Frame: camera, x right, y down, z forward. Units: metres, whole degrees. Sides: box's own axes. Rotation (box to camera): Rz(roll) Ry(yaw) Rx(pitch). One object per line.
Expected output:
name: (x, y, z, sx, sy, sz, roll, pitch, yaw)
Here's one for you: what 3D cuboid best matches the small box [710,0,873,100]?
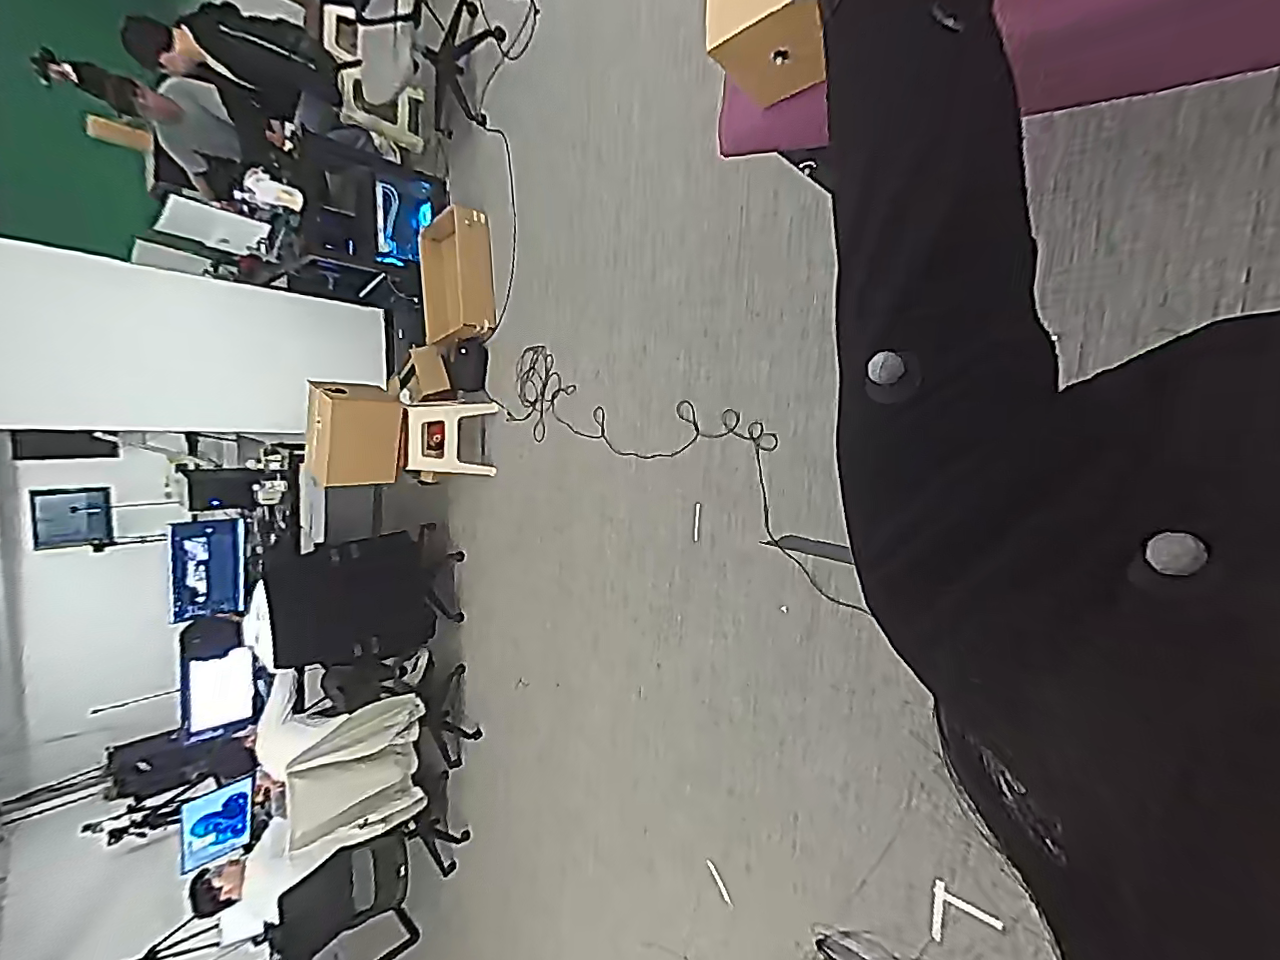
small box: (0.217, -0.686, 0.758, 0.179, 0.176, 0.168, 3, 93, 43)
